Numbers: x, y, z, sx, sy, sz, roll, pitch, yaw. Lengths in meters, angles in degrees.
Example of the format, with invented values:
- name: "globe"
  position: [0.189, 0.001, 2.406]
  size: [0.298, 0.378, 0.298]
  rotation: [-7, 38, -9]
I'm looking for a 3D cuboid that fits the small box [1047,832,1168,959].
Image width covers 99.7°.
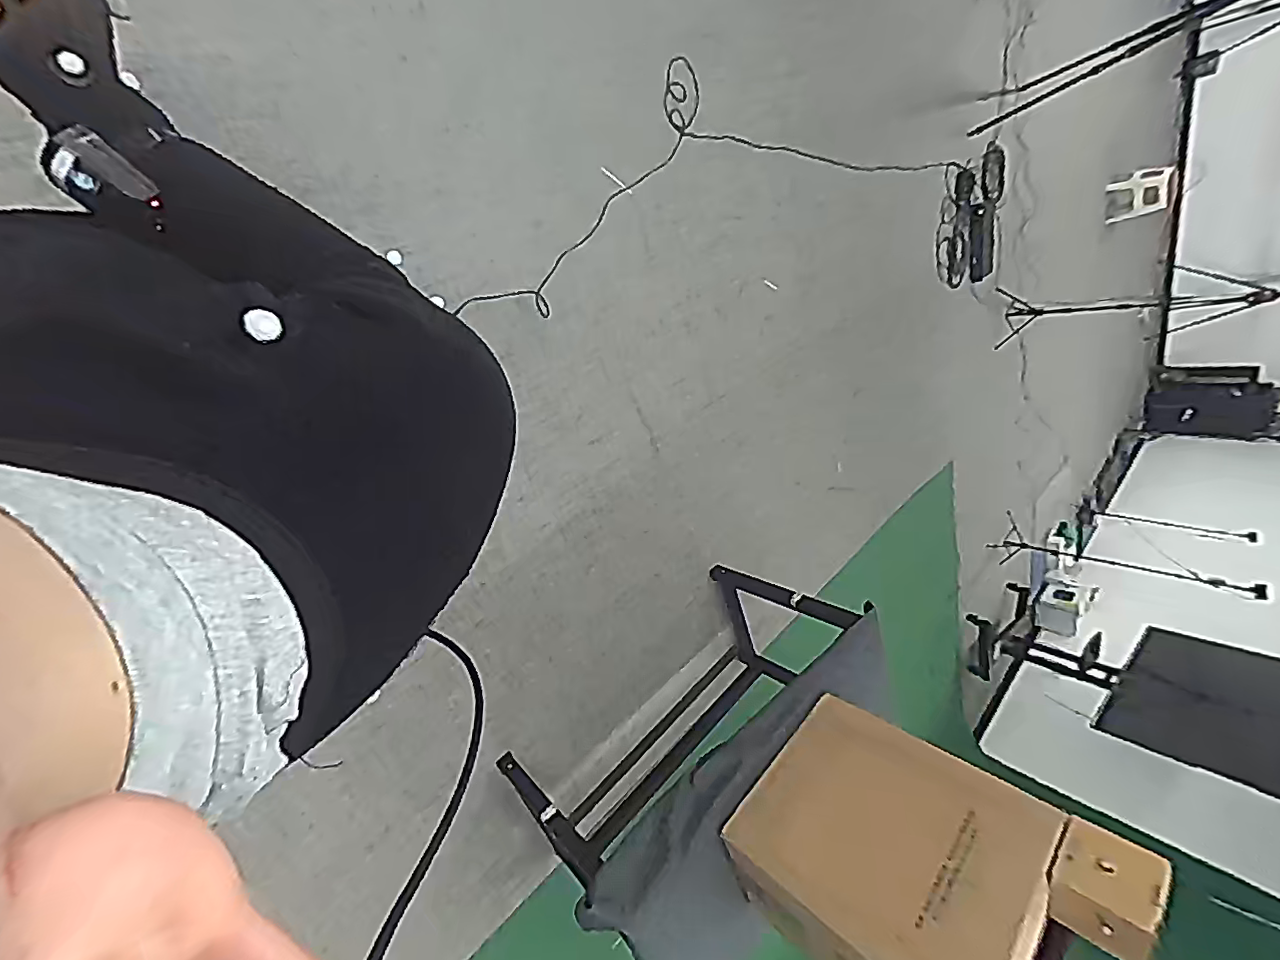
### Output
- name: "small box"
  position: [0.999, 0.905, 1.161]
  size: [0.168, 0.176, 0.179]
  rotation: [-36, 119, -30]
